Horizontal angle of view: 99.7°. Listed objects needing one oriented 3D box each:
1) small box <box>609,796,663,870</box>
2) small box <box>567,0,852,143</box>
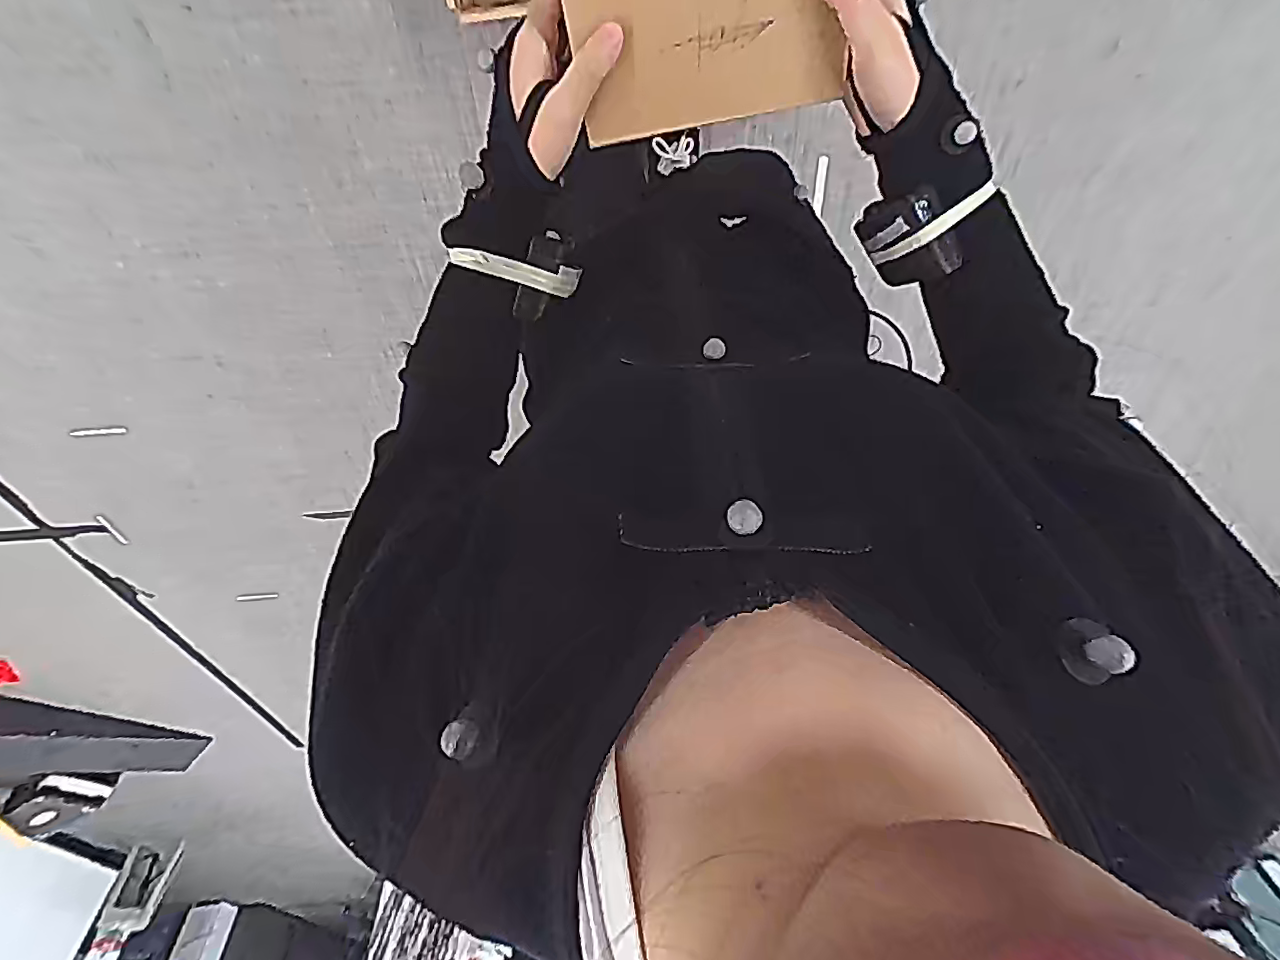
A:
[{"bbox_3d":[-0.016,1.184,1.815,0.168,0.176,0.179,-4,133,-4],"label":"small box"},{"bbox_3d":[0.032,-0.350,0.344,0.168,0.176,0.179,-8,138,5],"label":"small box"}]
